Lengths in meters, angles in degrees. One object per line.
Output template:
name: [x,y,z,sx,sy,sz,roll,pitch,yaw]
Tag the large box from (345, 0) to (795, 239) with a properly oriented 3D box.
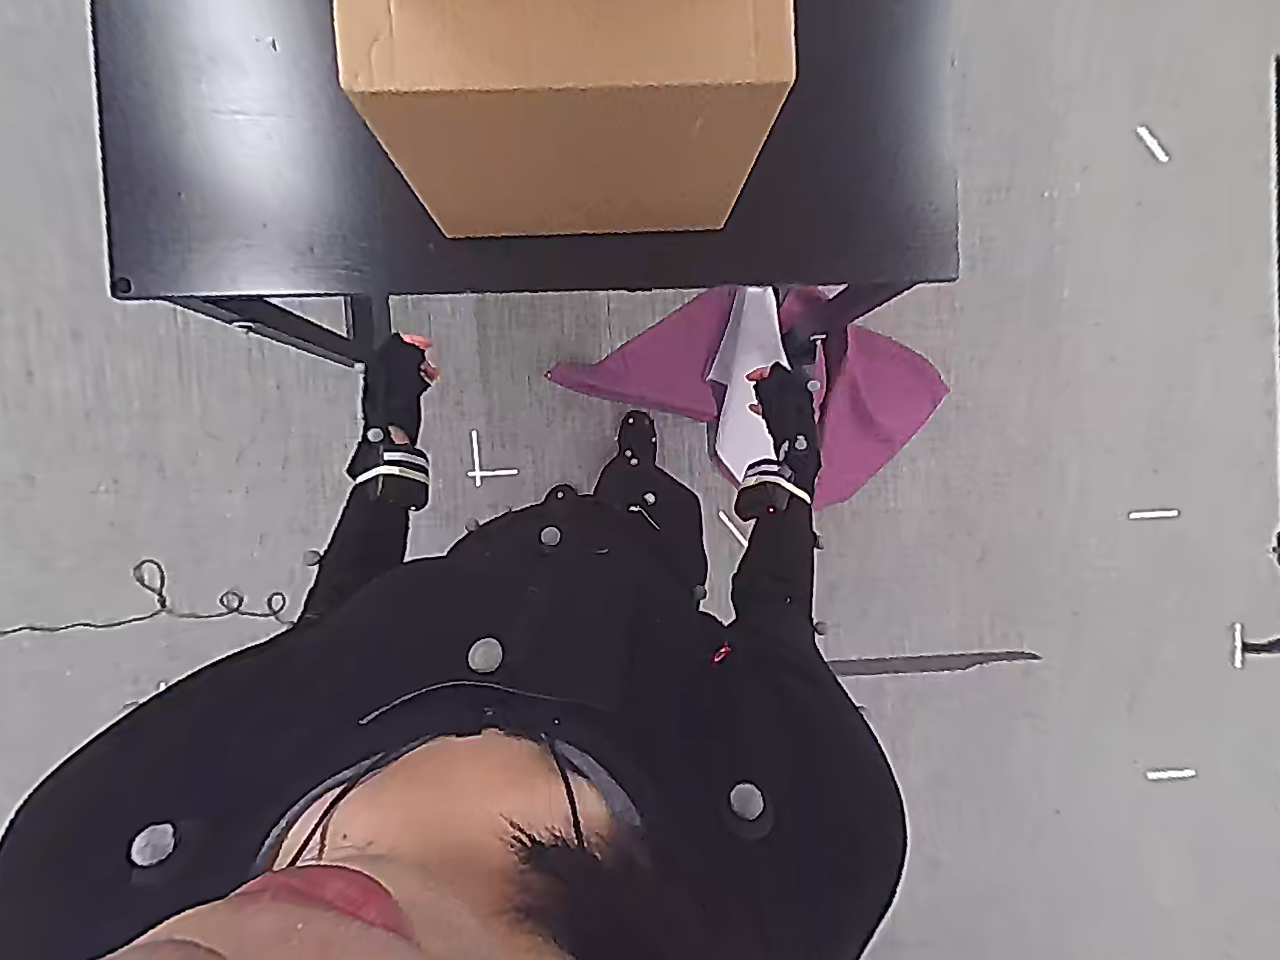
large box: [-0.079,-0.506,0.629,0.408,0.320,0.320,-5,92,-5]
